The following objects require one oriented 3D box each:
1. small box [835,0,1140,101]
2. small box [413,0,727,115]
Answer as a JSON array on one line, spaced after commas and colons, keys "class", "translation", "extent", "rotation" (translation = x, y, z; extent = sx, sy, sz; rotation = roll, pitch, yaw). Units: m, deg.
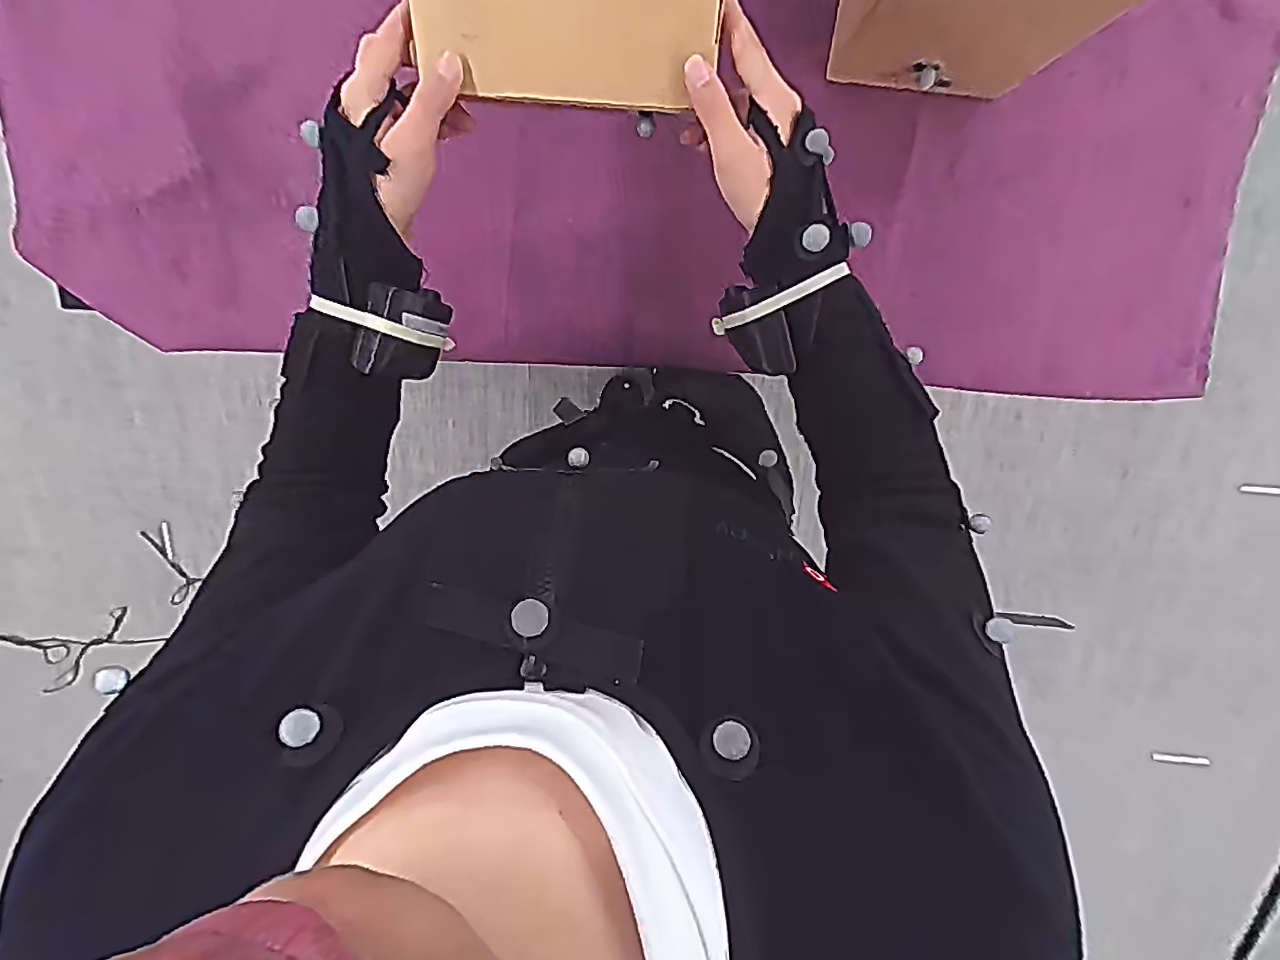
[{"class": "small box", "translation": [0.265, -0.429, 0.411], "extent": [0.168, 0.176, 0.179], "rotation": [8, 107, 1]}, {"class": "small box", "translation": [-0.035, -0.339, 0.344], "extent": [0.179, 0.176, 0.168], "rotation": [3, 122, -1]}]
